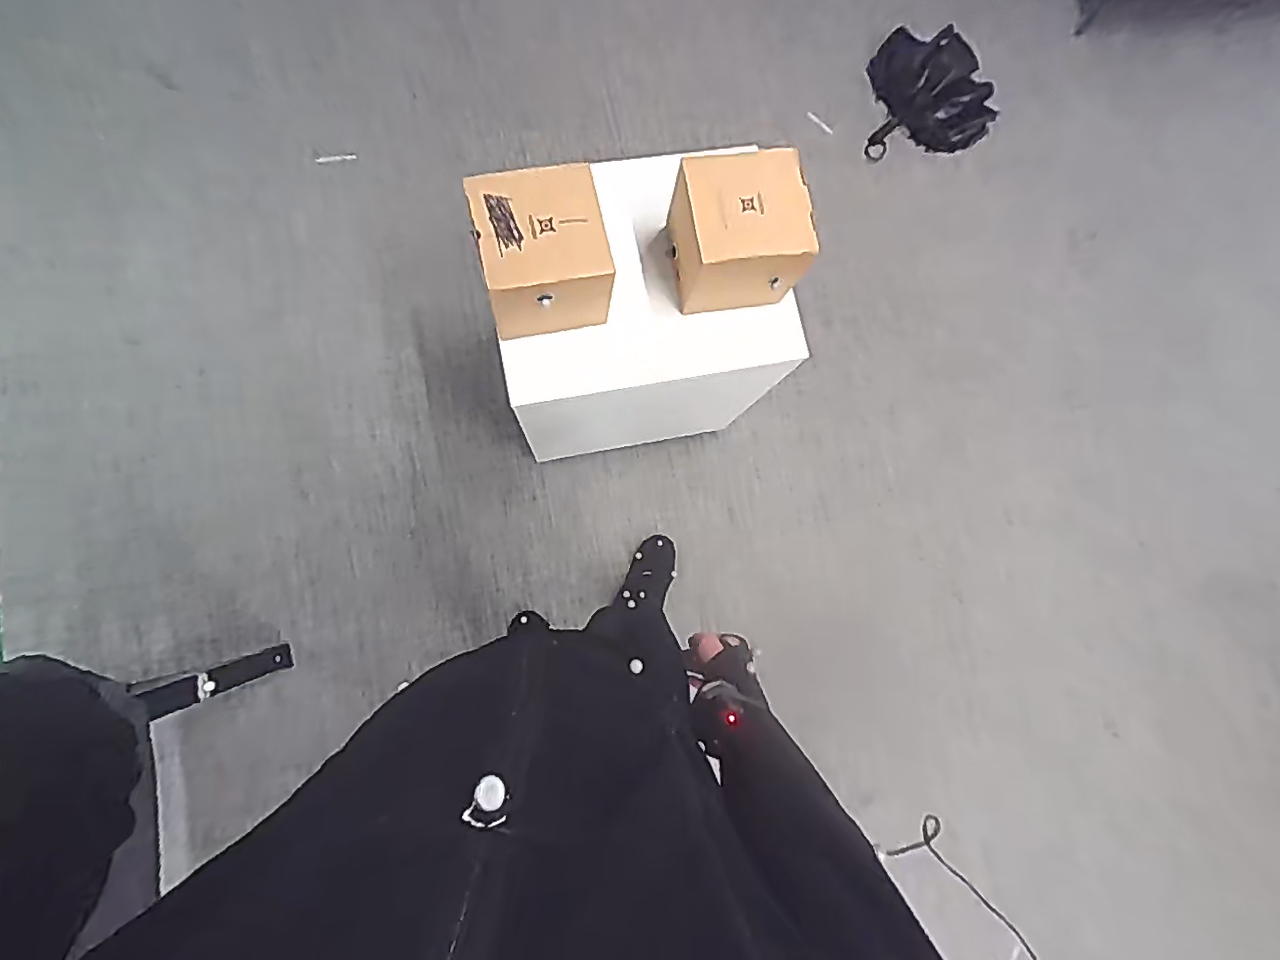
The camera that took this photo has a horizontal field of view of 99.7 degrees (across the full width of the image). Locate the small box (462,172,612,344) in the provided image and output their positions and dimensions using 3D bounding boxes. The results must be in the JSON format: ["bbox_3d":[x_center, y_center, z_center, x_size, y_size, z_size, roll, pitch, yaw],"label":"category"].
[{"bbox_3d":[-0.147,-0.317,0.801,0.179,0.176,0.168,-12,84,-10],"label":"small box"}]

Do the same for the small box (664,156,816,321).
[{"bbox_3d":[0.145,-0.366,0.842,0.179,0.176,0.168,-9,82,-6],"label":"small box"}]
